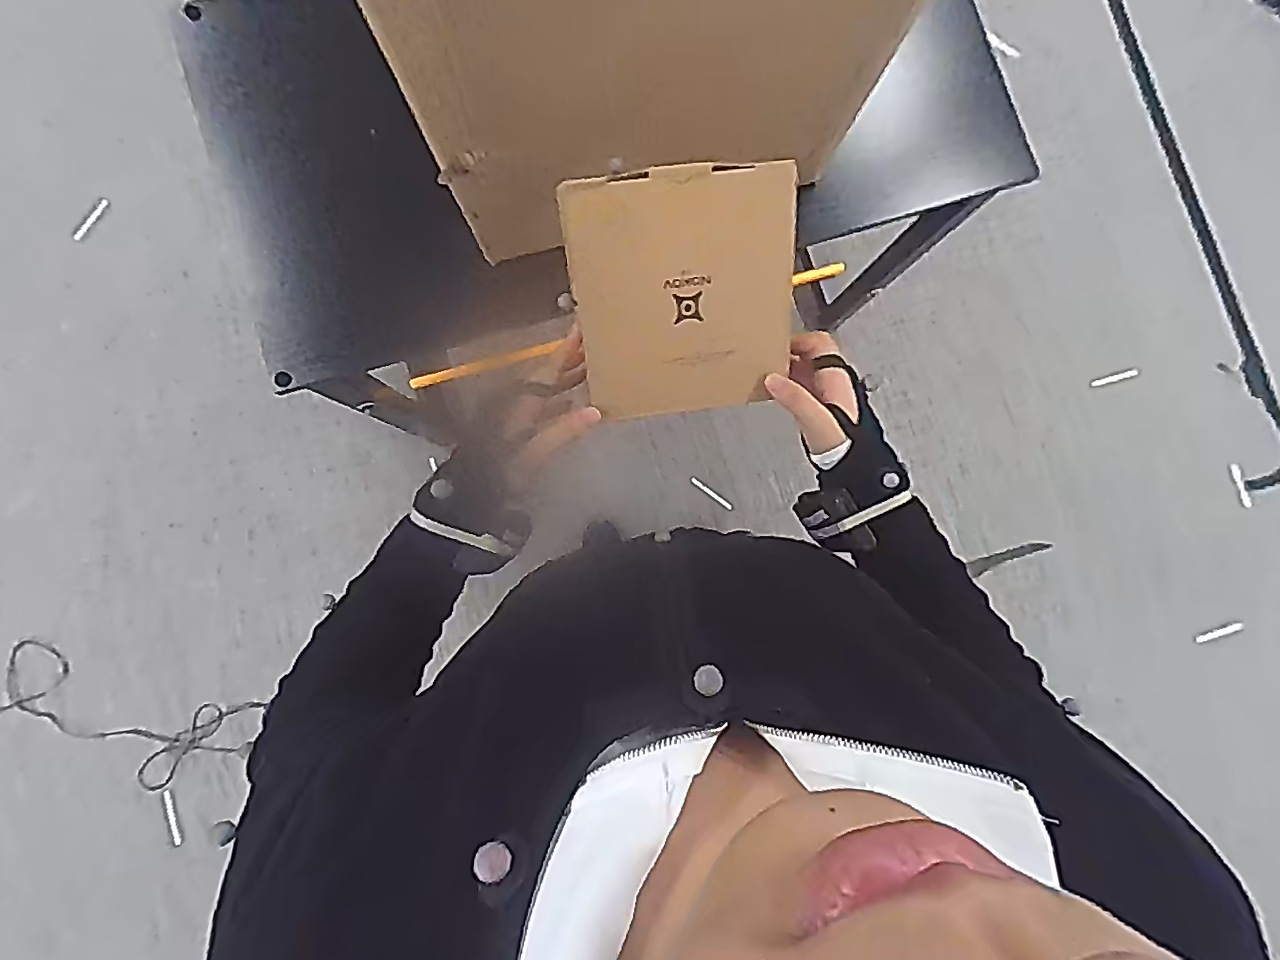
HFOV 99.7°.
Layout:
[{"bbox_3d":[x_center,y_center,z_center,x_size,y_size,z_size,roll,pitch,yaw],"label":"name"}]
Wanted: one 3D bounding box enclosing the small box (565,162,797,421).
[{"bbox_3d":[0.026,-0.169,0.482,0.168,0.176,0.179,-8,117,-5],"label":"small box"}]
